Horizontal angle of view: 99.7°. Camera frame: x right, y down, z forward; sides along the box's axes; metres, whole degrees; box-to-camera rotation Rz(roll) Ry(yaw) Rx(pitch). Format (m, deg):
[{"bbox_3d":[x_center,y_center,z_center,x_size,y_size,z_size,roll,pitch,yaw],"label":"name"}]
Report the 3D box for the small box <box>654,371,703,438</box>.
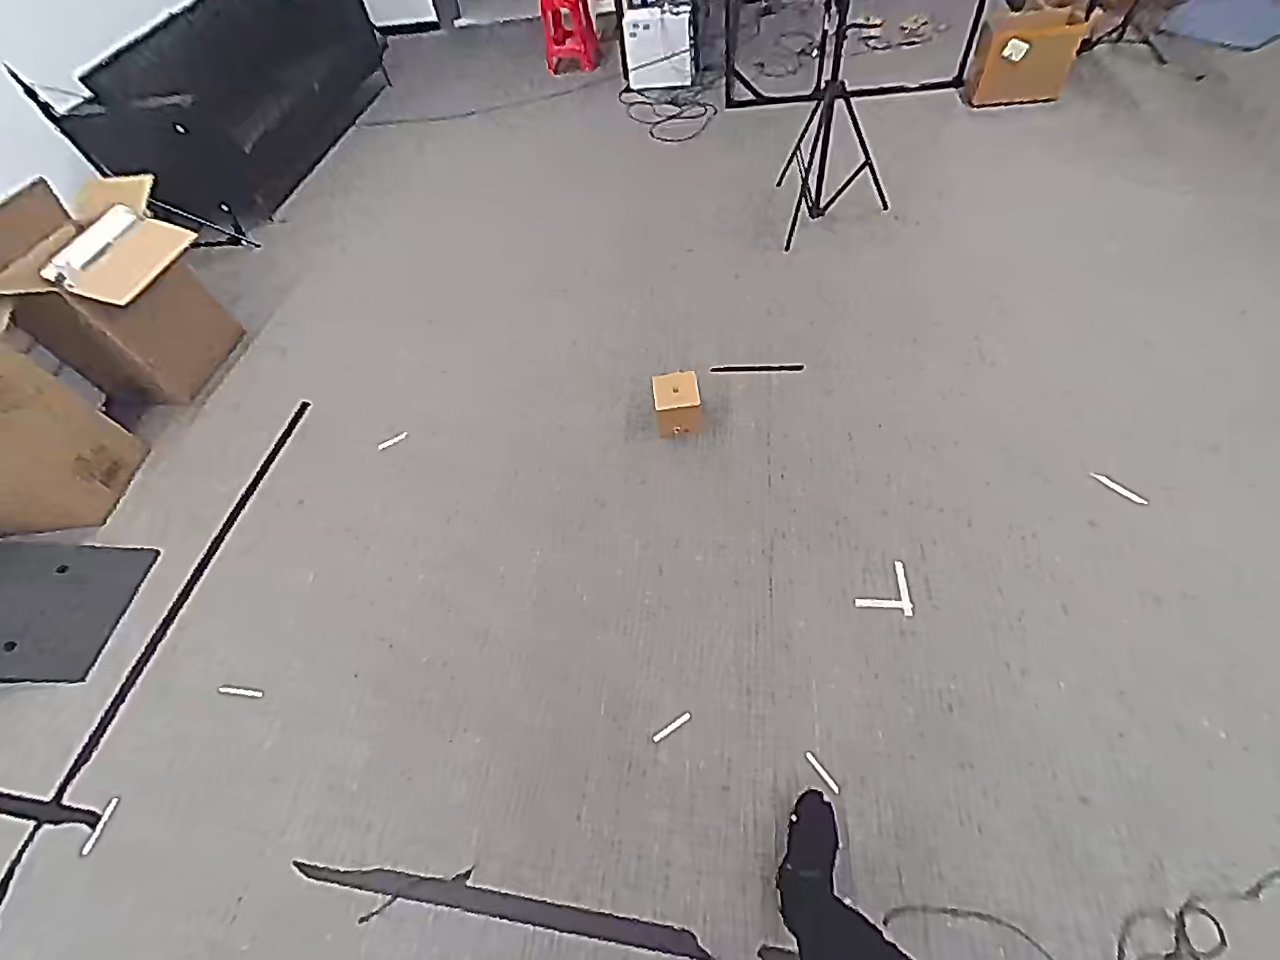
[{"bbox_3d":[0.145,-0.282,2.038,0.168,0.176,0.179,-8,54,5],"label":"small box"}]
